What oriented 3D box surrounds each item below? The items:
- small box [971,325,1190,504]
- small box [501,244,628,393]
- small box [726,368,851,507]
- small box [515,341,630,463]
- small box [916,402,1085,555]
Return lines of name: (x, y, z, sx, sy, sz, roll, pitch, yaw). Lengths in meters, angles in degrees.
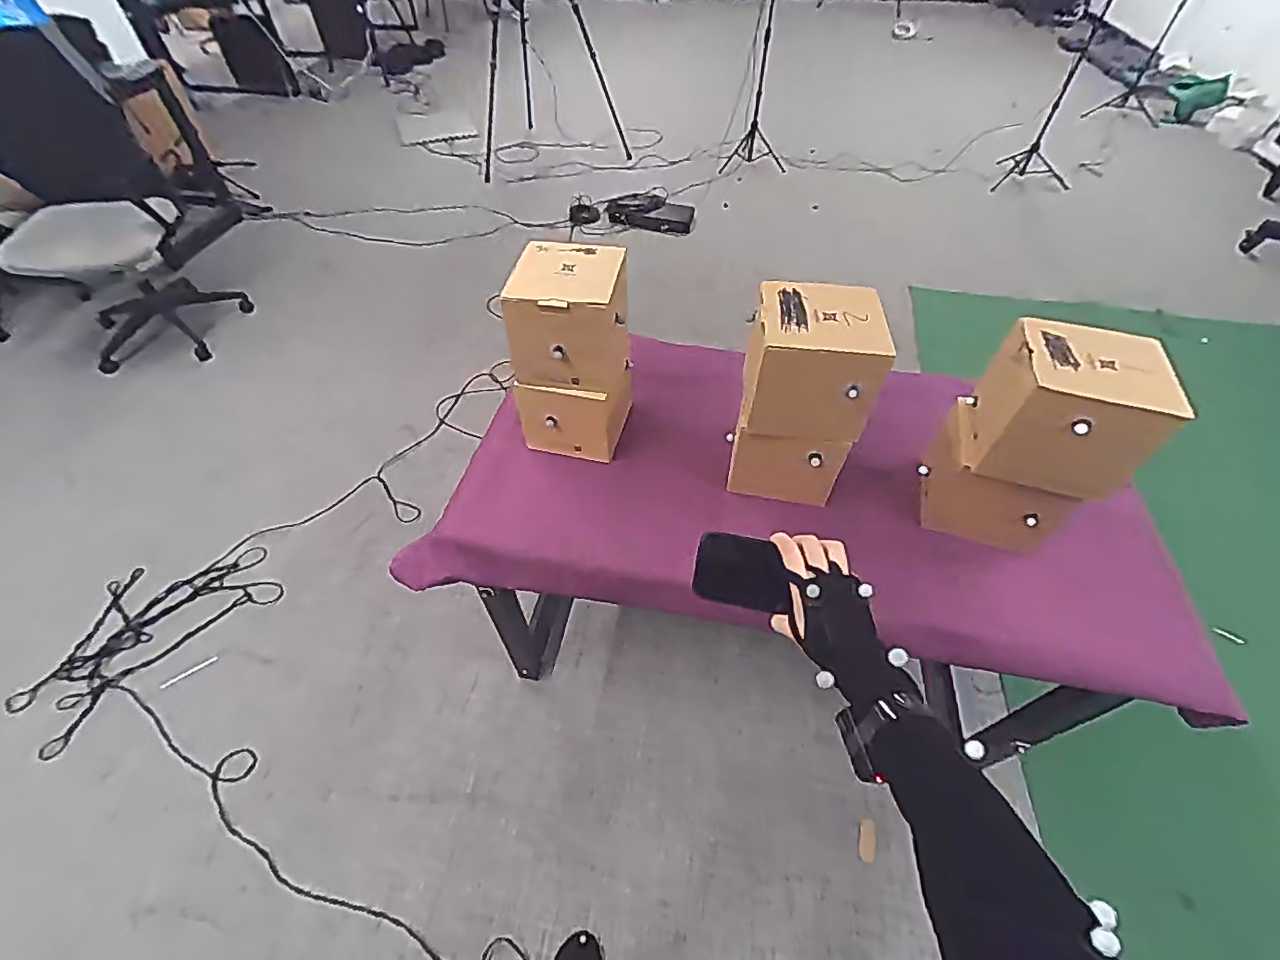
small box: (0.593, -0.090, 0.764, 0.179, 0.176, 0.168, 16, 52, 11)
small box: (-0.113, -0.267, 0.906, 0.168, 0.176, 0.179, 7, 51, 5)
small box: (0.259, -0.071, 0.957, 0.179, 0.176, 0.168, 10, 51, 8)
small box: (-0.116, -0.156, 1.027, 0.168, 0.176, 0.179, 11, 51, 9)
small box: (0.587, 0.002, 0.900, 0.179, 0.176, 0.168, 15, 51, 12)
